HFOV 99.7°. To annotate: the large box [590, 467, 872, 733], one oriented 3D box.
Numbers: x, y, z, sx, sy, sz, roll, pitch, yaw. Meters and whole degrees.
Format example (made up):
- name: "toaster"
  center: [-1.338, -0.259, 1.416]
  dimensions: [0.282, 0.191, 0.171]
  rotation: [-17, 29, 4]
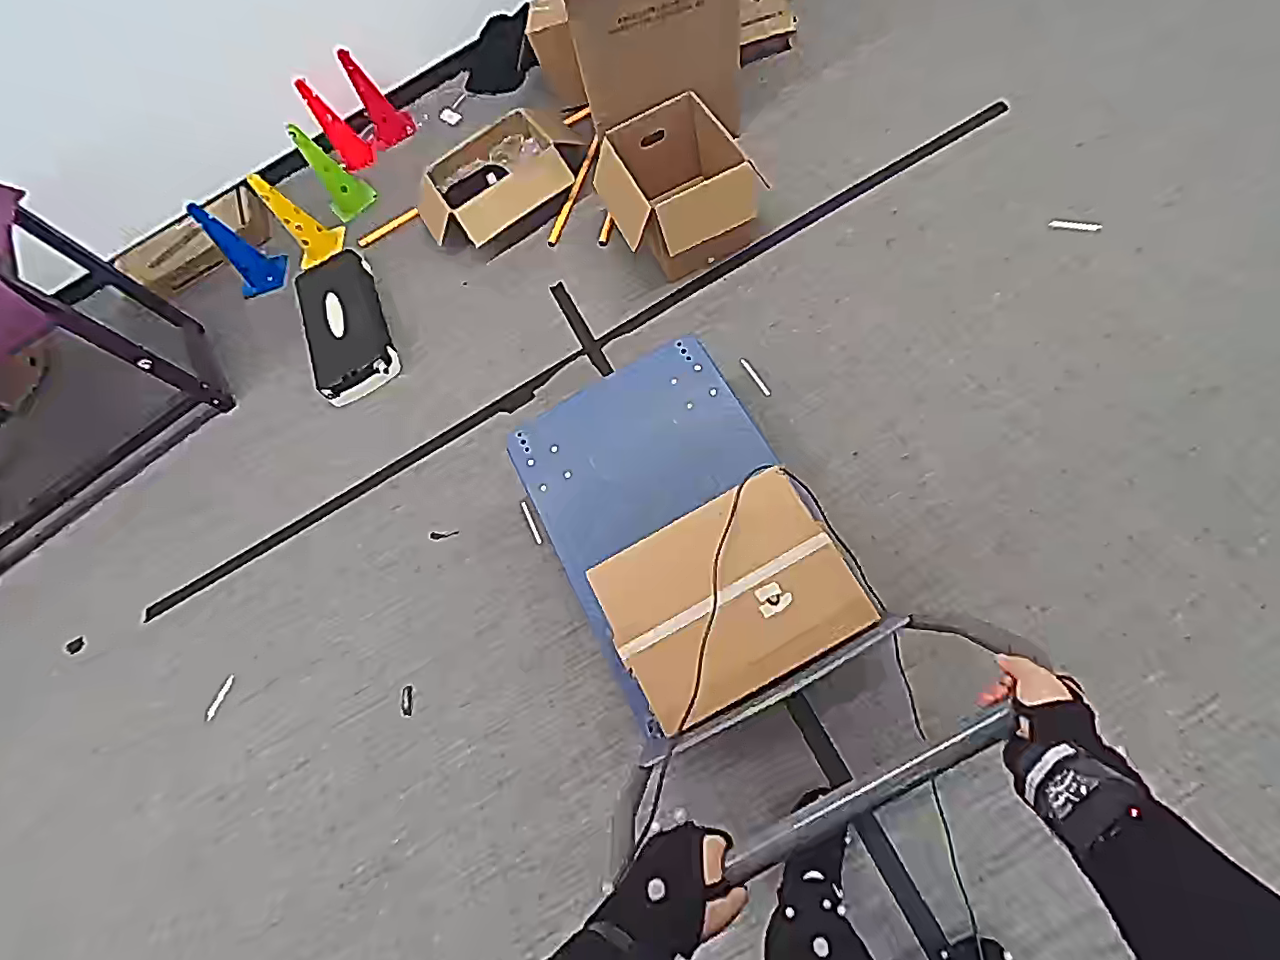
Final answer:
- name: "large box"
  center: [0.169, 0.241, 1.083]
  dimensions: [0.408, 0.320, 0.320]
  rotation: [-30, 72, 0]
